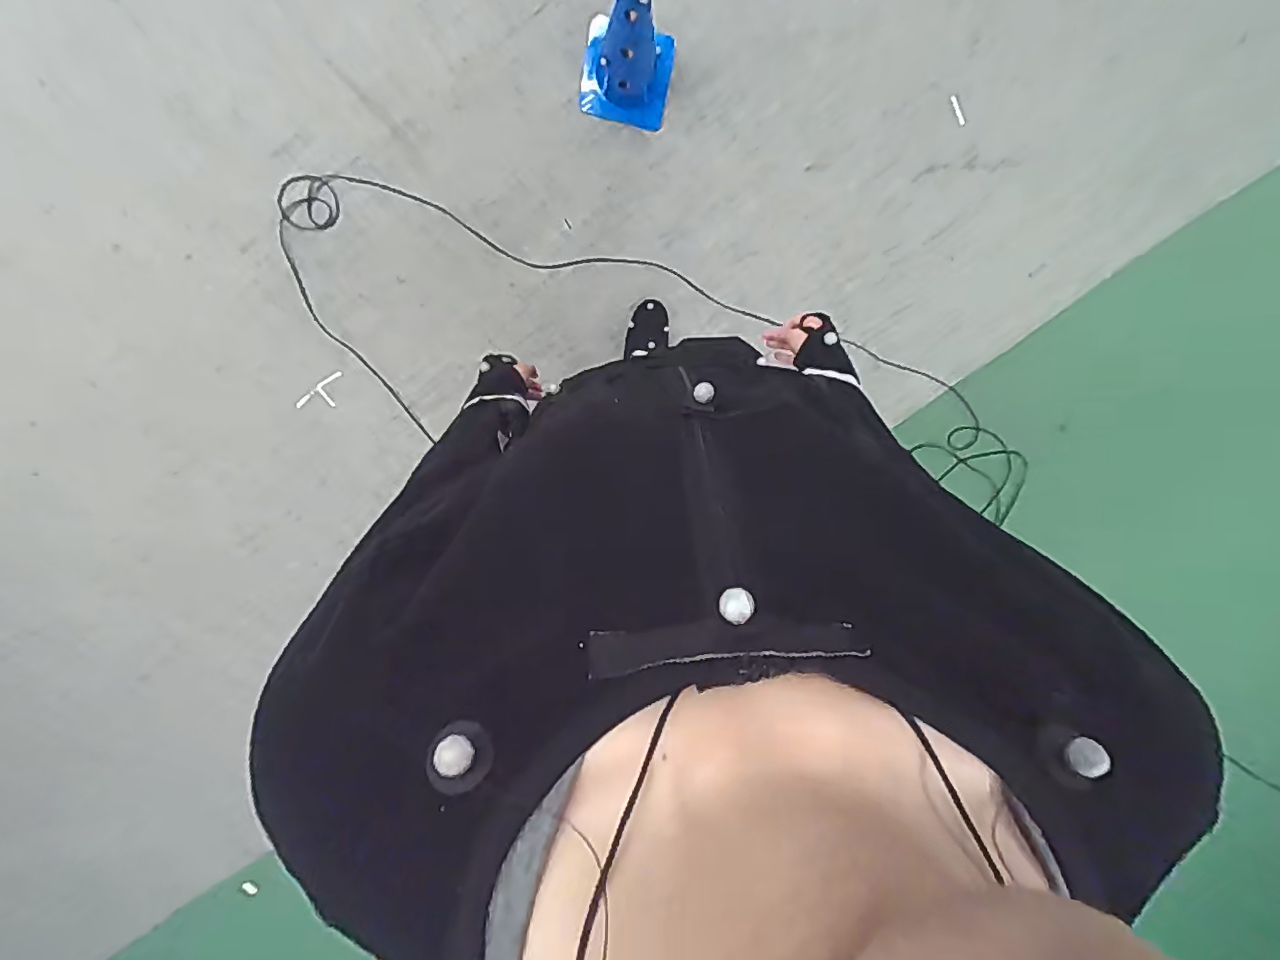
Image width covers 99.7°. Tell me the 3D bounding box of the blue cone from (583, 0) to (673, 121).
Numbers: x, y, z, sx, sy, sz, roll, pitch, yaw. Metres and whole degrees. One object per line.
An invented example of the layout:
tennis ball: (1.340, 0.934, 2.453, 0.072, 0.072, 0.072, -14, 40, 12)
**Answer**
blue cone: (-0.017, -0.890, 1.063, 0.192, 0.380, 0.193, 9, 103, -6)
